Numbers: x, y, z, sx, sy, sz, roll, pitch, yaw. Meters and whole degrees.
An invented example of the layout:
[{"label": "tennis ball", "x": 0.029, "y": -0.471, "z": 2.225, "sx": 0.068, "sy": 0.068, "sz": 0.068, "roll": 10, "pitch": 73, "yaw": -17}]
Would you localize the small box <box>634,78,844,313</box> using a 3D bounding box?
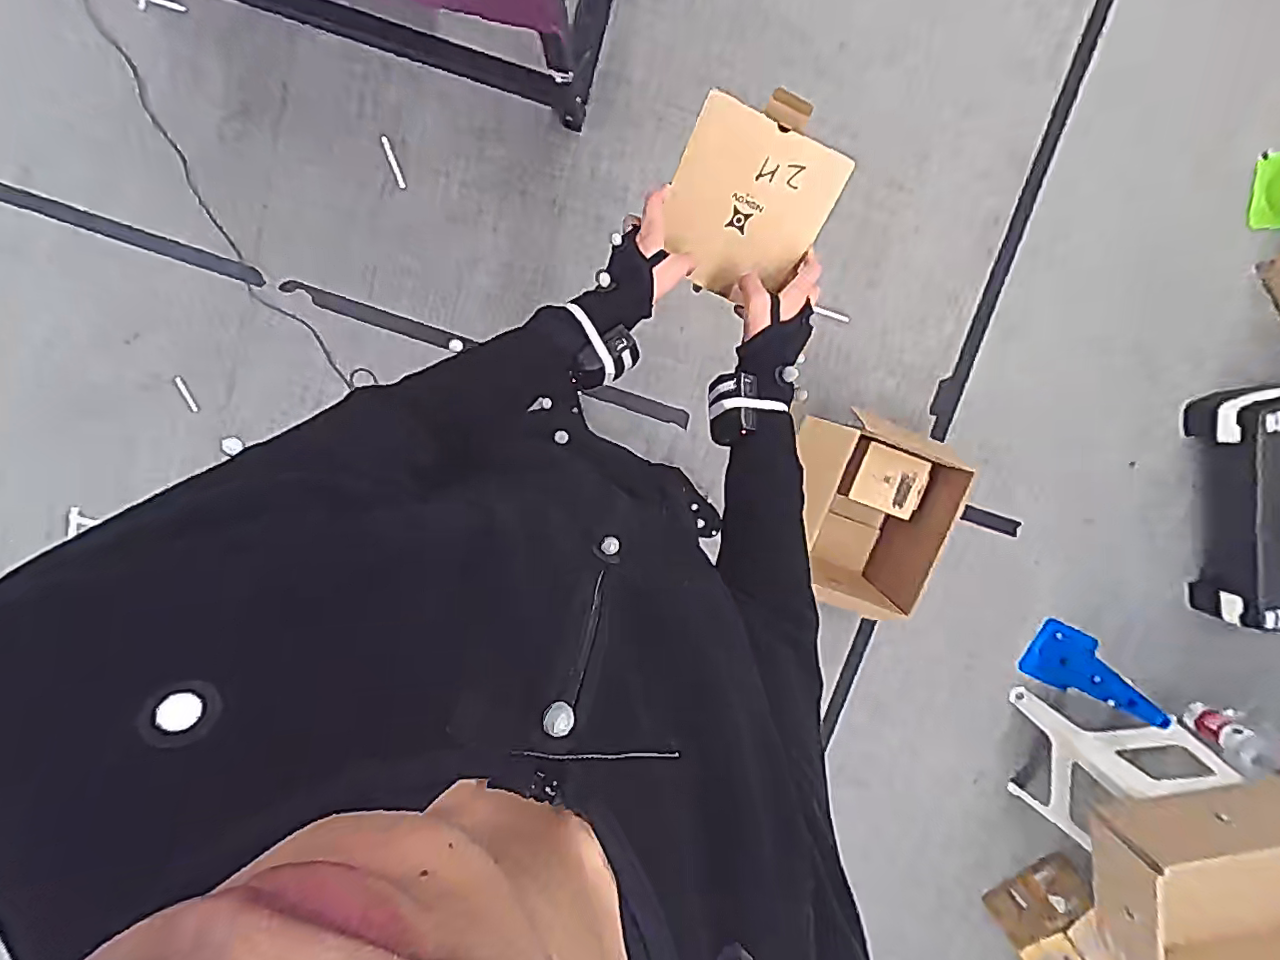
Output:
[{"label": "small box", "x": 0.107, "y": -0.324, "z": 0.641, "sx": 0.168, "sy": 0.176, "sz": 0.179, "roll": 23, "pitch": 115, "yaw": -6}]
